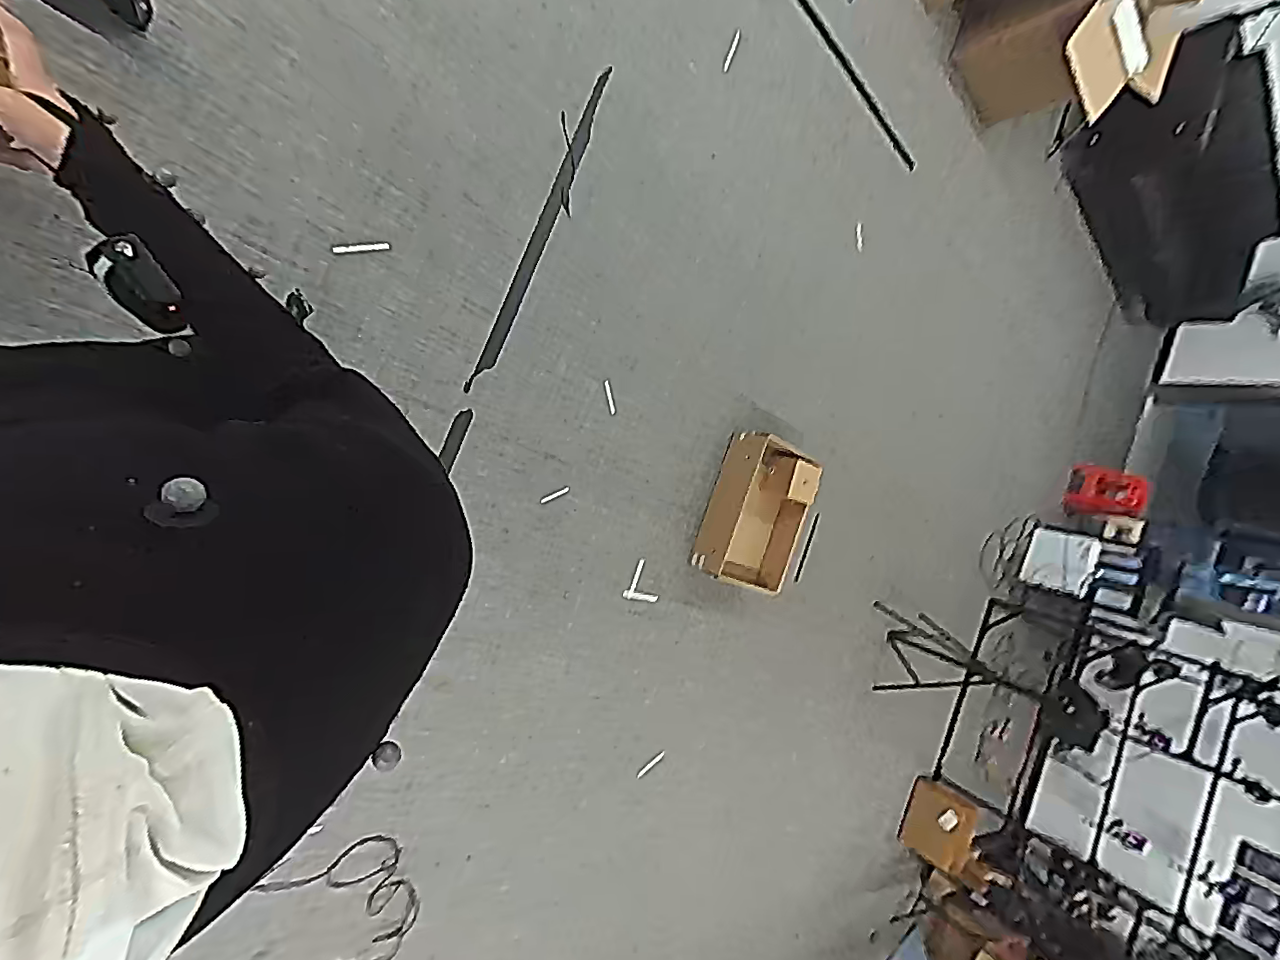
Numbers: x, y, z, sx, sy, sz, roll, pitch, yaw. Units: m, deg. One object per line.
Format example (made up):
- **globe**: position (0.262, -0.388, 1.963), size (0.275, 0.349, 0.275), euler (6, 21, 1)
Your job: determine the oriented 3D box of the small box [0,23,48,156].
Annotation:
- **small box**: position (-0.592, -0.330, 0.378), size (0.179, 0.176, 0.168), euler (-36, 126, -47)
